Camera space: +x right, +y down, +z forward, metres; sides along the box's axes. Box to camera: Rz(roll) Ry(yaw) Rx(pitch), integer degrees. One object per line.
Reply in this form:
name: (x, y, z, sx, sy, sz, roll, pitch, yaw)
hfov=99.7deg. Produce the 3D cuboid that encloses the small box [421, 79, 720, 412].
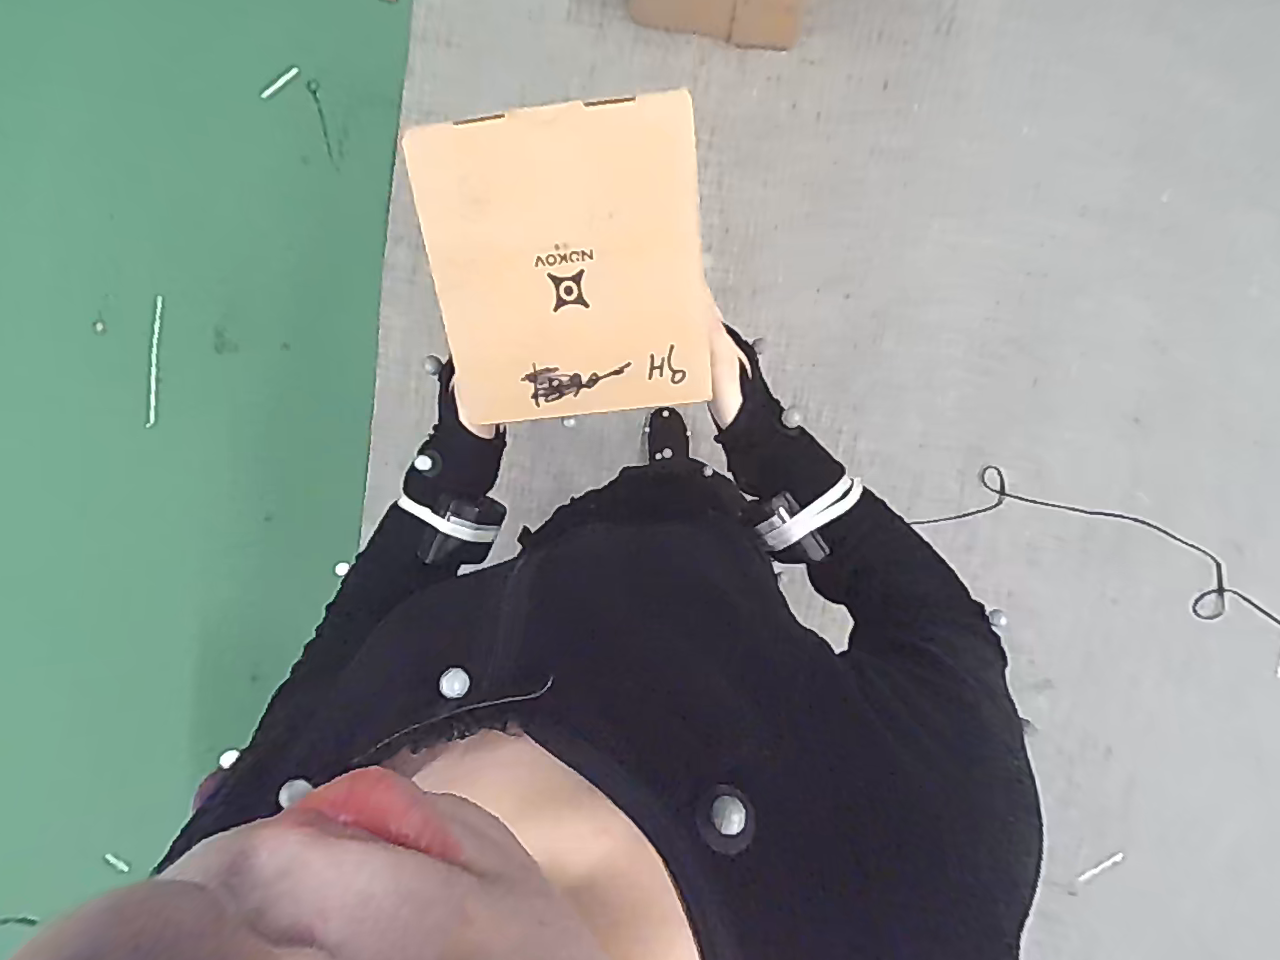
small box: (-0.035, -0.159, 0.403, 0.168, 0.176, 0.179, -5, 110, 4)
